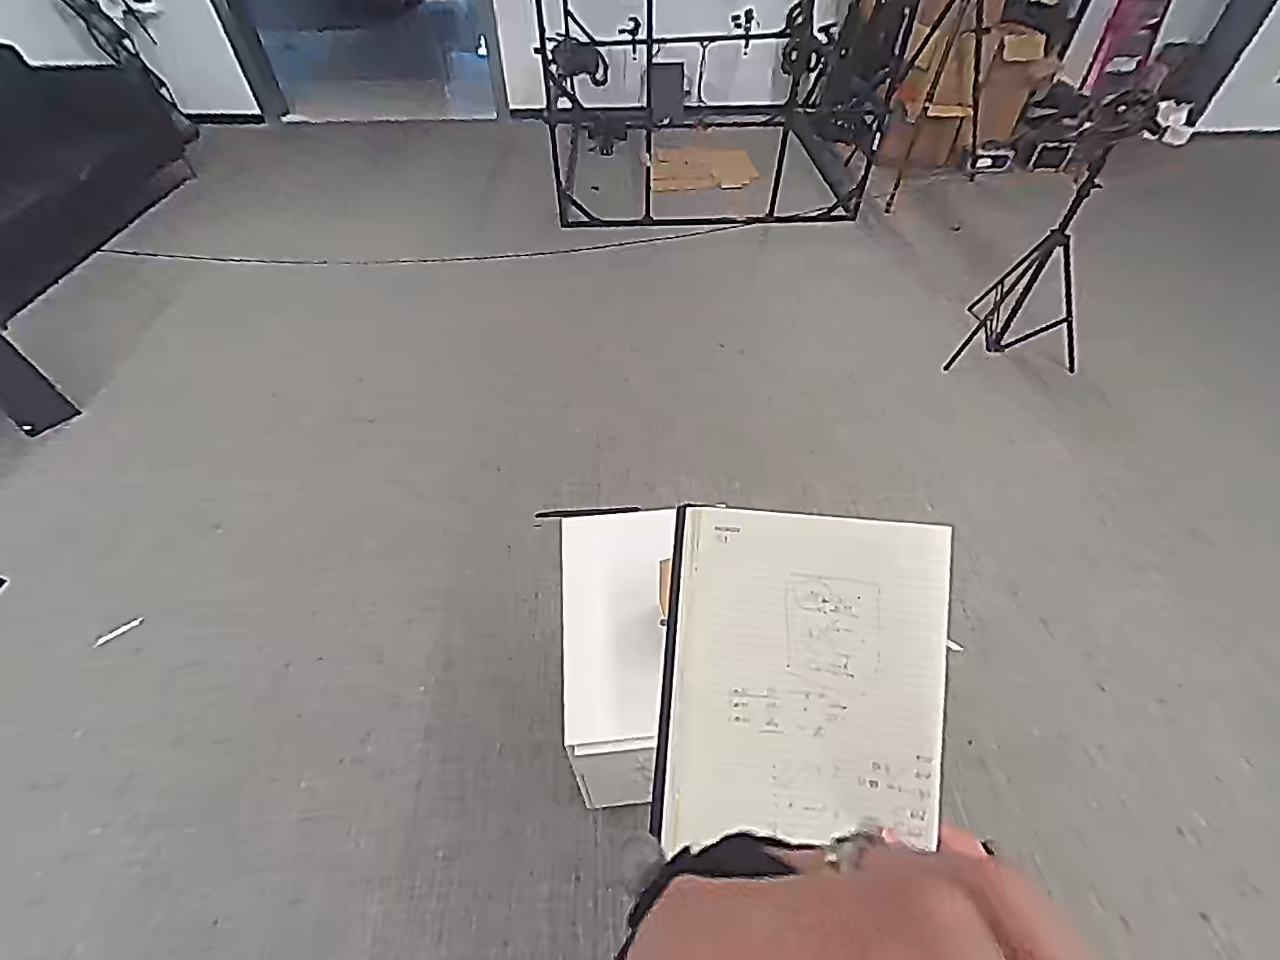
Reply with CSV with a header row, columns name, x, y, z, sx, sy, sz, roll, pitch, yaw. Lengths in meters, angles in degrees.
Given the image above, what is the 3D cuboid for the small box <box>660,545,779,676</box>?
name,x,y,z,sx,sy,sz,roll,pitch,yaw
small box,0.142,0.253,1.040,0.179,0.176,0.168,-12,49,-9
